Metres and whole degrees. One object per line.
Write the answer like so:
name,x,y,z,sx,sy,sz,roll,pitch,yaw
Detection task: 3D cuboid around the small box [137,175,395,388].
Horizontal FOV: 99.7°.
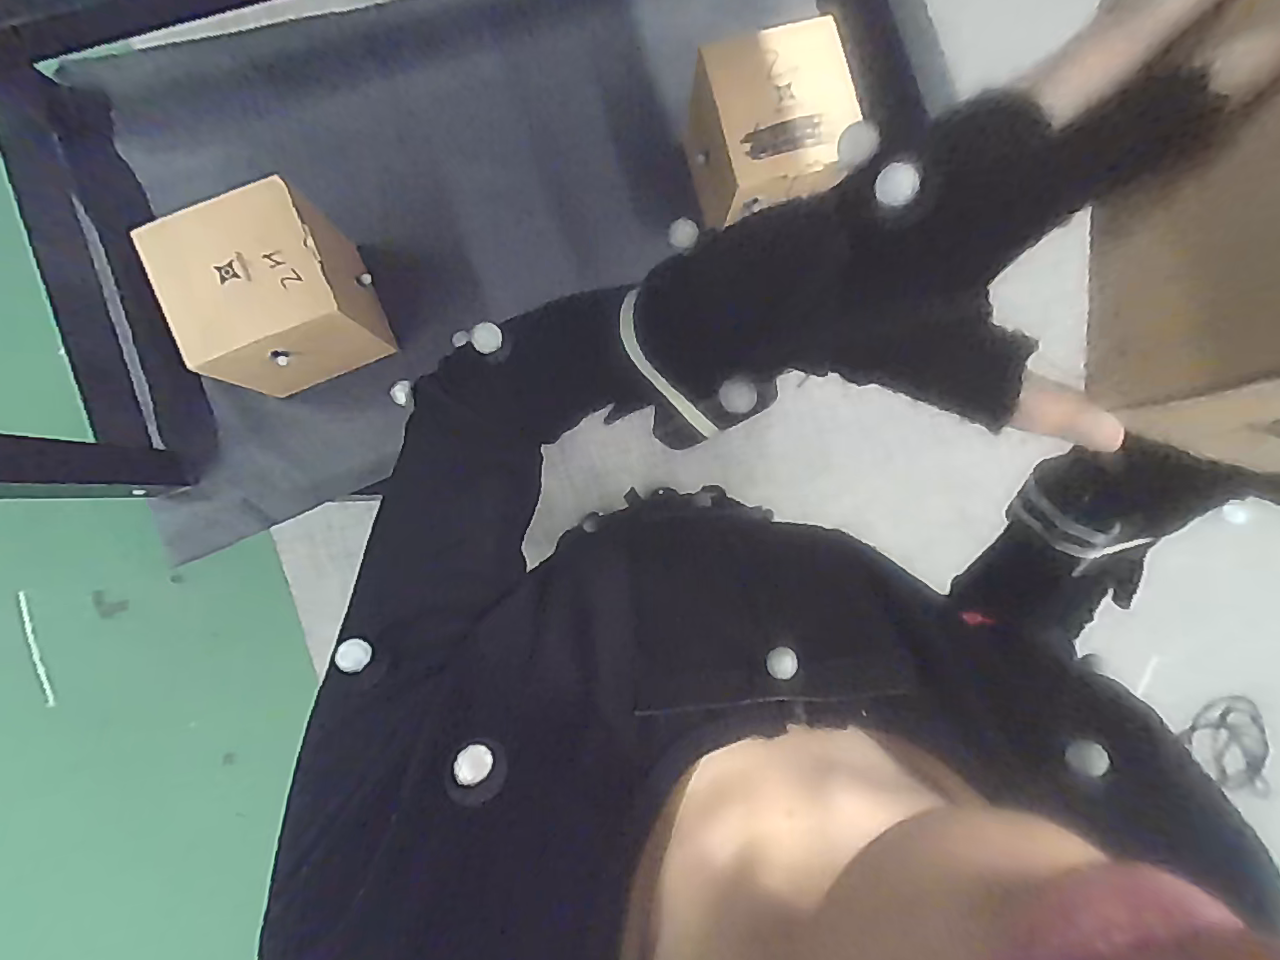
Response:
small box,-0.444,-0.229,0.672,0.179,0.176,0.168,-23,90,-4
